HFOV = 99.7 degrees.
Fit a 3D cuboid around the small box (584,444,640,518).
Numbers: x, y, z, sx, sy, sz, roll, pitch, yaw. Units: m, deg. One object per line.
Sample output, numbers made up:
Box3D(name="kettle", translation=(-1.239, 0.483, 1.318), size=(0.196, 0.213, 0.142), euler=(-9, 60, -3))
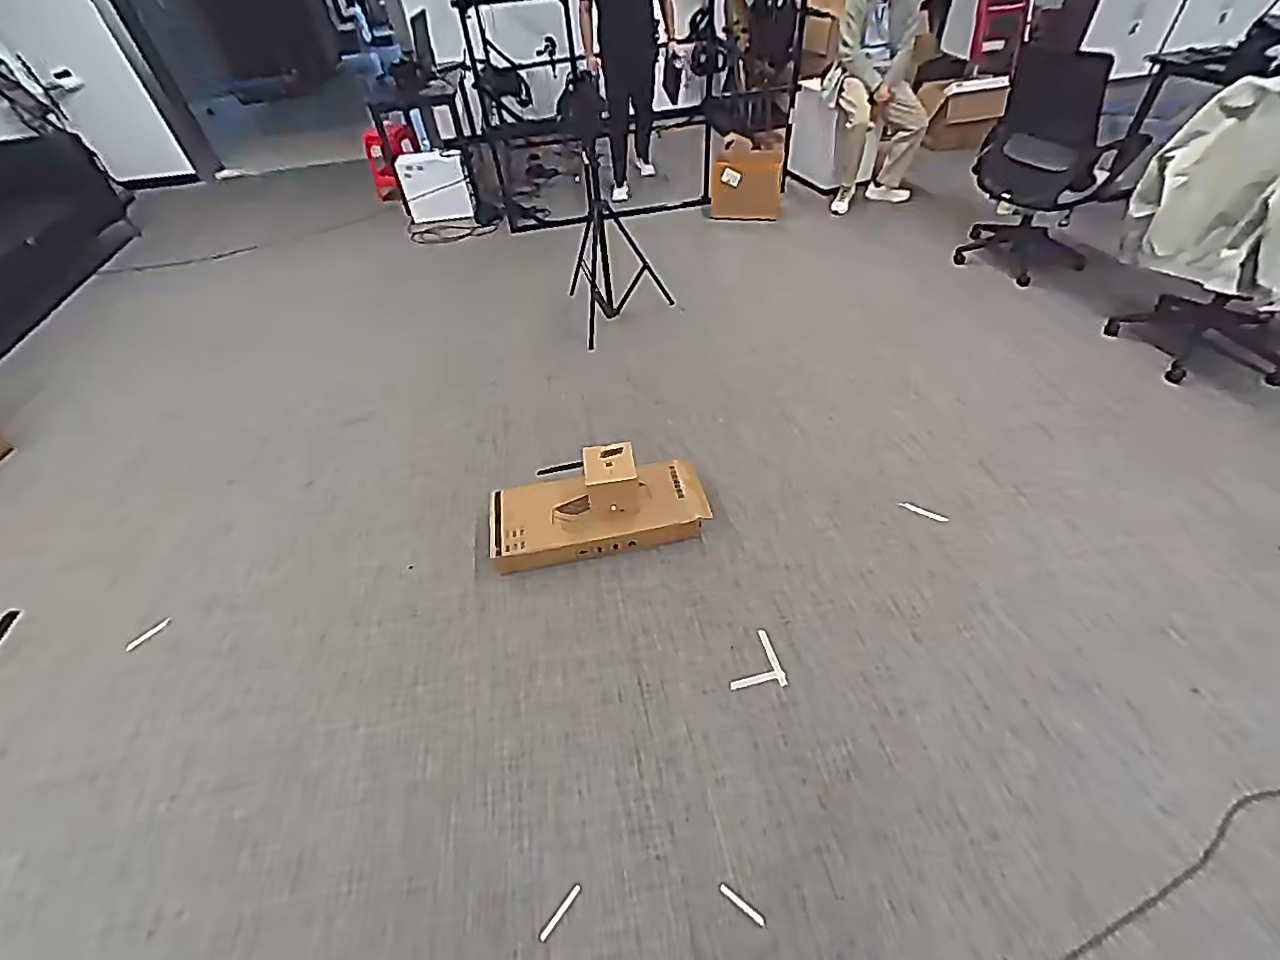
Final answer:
Box3D(name="small box", translation=(-0.095, 0.004, 1.830), size=(0.168, 0.176, 0.179), euler=(-8, 47, -2))
